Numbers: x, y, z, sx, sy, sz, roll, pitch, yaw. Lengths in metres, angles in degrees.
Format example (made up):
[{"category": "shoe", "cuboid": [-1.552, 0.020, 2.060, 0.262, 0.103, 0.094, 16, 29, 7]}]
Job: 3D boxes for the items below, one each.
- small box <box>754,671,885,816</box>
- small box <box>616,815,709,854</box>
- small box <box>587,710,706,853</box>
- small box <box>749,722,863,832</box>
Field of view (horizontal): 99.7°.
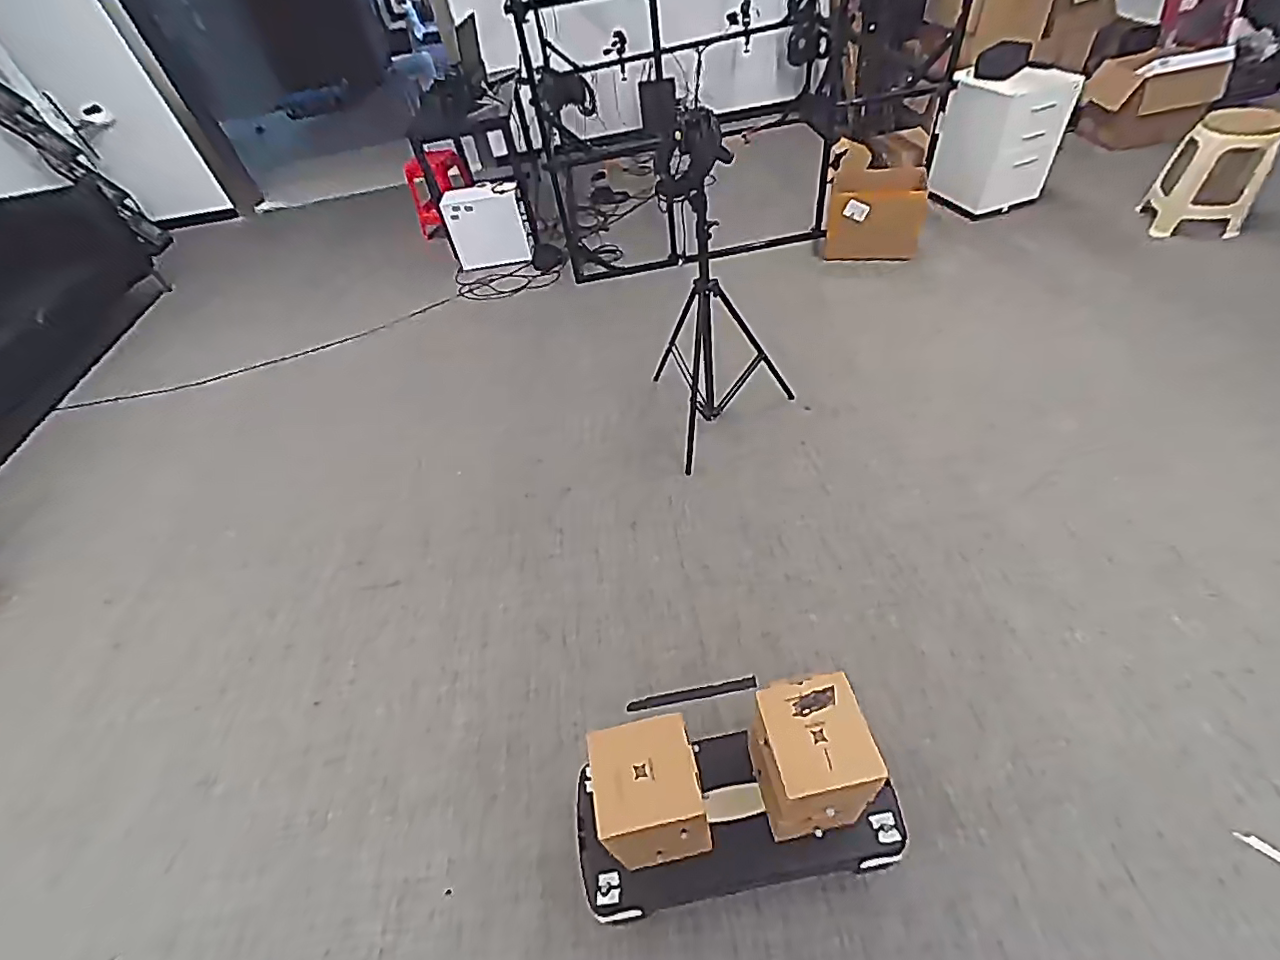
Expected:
[{"category": "small box", "cuboid": [0.306, 0.474, 0.969, 0.168, 0.176, 0.179, -13, 48, -1]}, {"category": "small box", "cuboid": [0.036, 0.648, 1.085, 0.179, 0.176, 0.168, -13, 47, -1]}, {"category": "small box", "cuboid": [0.014, 0.539, 0.964, 0.179, 0.176, 0.168, -14, 46, -2]}, {"category": "small box", "cuboid": [0.320, 0.588, 1.087, 0.168, 0.176, 0.179, -13, 48, 0]}]
